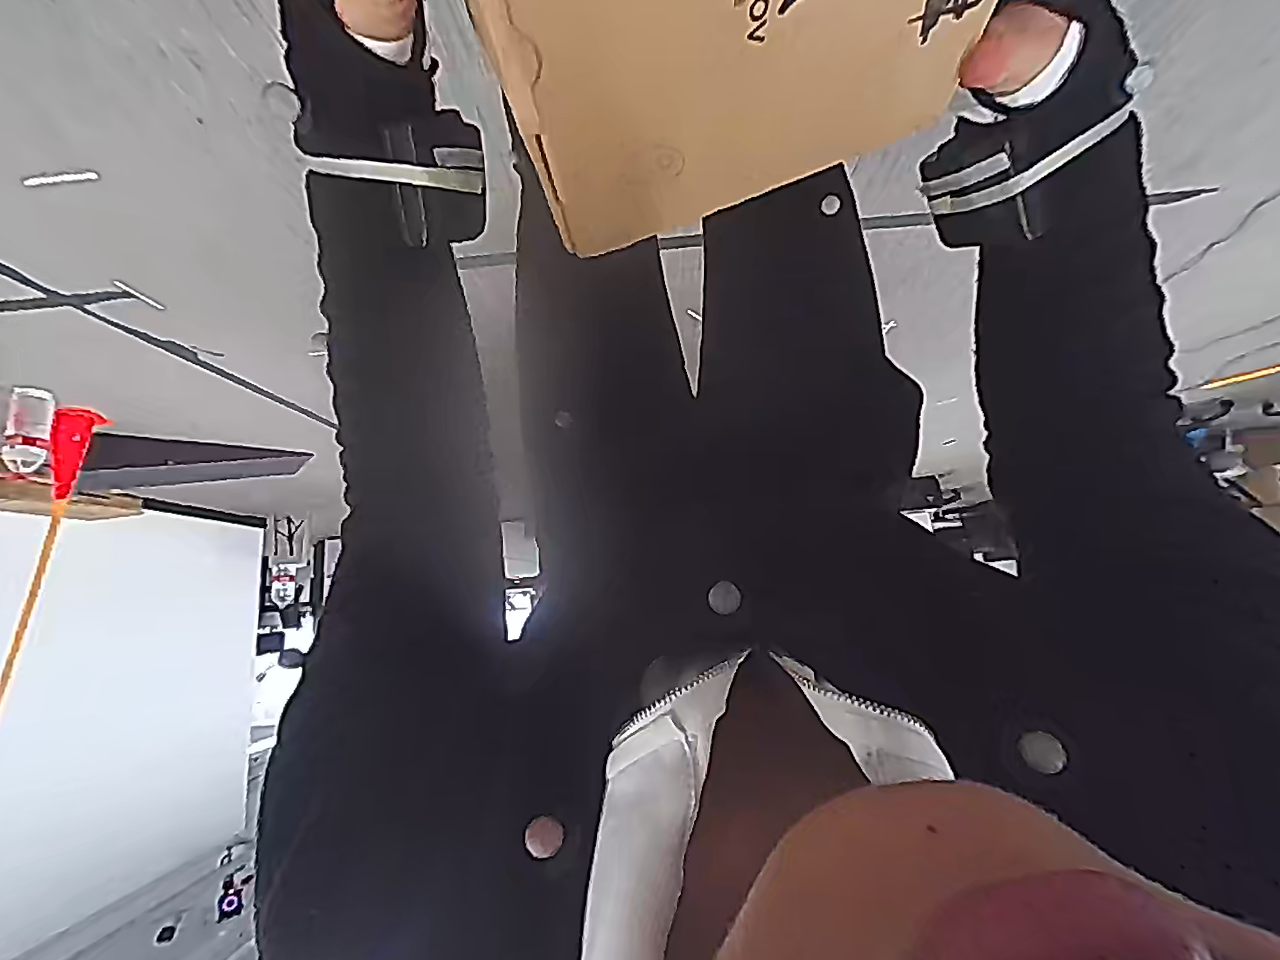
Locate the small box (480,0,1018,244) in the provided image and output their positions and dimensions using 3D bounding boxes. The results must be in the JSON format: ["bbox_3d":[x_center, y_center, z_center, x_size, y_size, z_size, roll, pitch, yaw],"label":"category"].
[{"bbox_3d":[0.021,-0.222,0.176,0.179,0.176,0.168,-20,162,-2],"label":"small box"}]
